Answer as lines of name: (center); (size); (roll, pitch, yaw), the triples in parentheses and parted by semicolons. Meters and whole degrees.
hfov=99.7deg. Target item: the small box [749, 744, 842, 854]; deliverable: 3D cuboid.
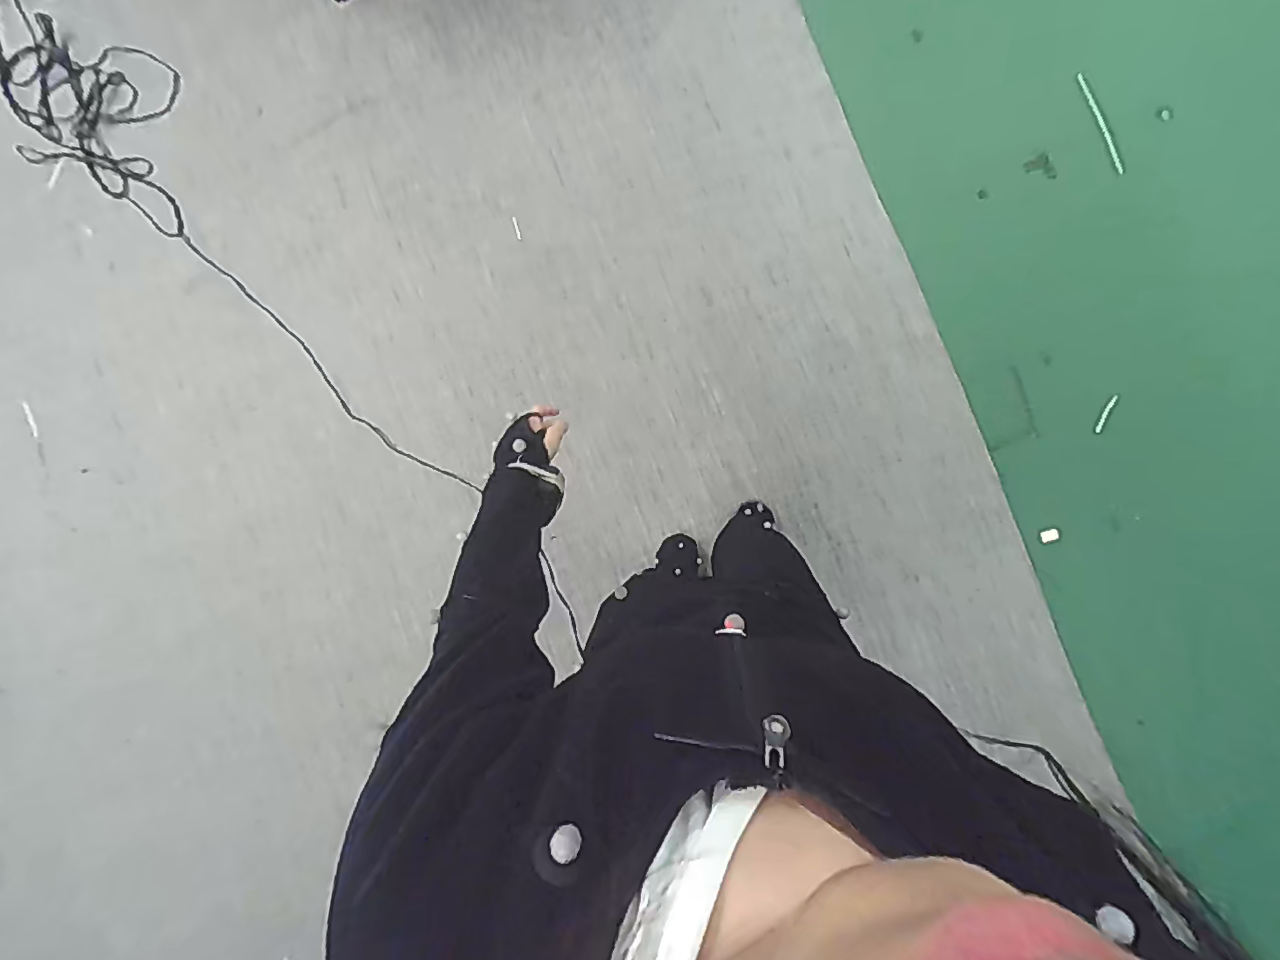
small box: (0.389, 0.813, 1.393); (0.179, 0.176, 0.168); (-15, 87, 0)
